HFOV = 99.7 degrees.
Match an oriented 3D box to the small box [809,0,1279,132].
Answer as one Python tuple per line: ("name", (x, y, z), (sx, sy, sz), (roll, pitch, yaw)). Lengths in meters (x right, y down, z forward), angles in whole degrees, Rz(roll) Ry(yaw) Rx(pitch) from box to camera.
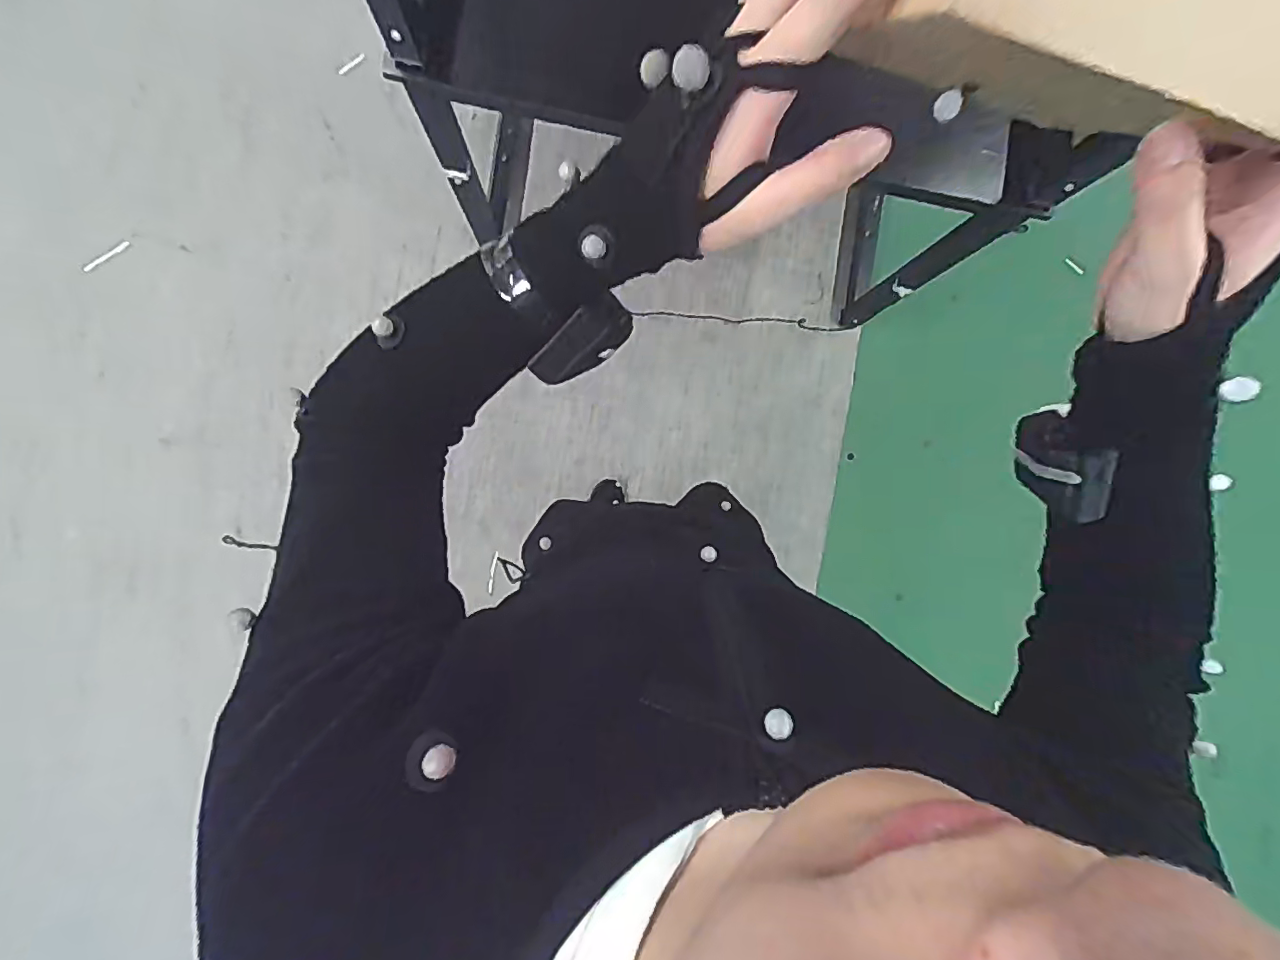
("small box", (0.197, -0.258, 0.207), (0.179, 0.176, 0.168), (9, 124, -12))
